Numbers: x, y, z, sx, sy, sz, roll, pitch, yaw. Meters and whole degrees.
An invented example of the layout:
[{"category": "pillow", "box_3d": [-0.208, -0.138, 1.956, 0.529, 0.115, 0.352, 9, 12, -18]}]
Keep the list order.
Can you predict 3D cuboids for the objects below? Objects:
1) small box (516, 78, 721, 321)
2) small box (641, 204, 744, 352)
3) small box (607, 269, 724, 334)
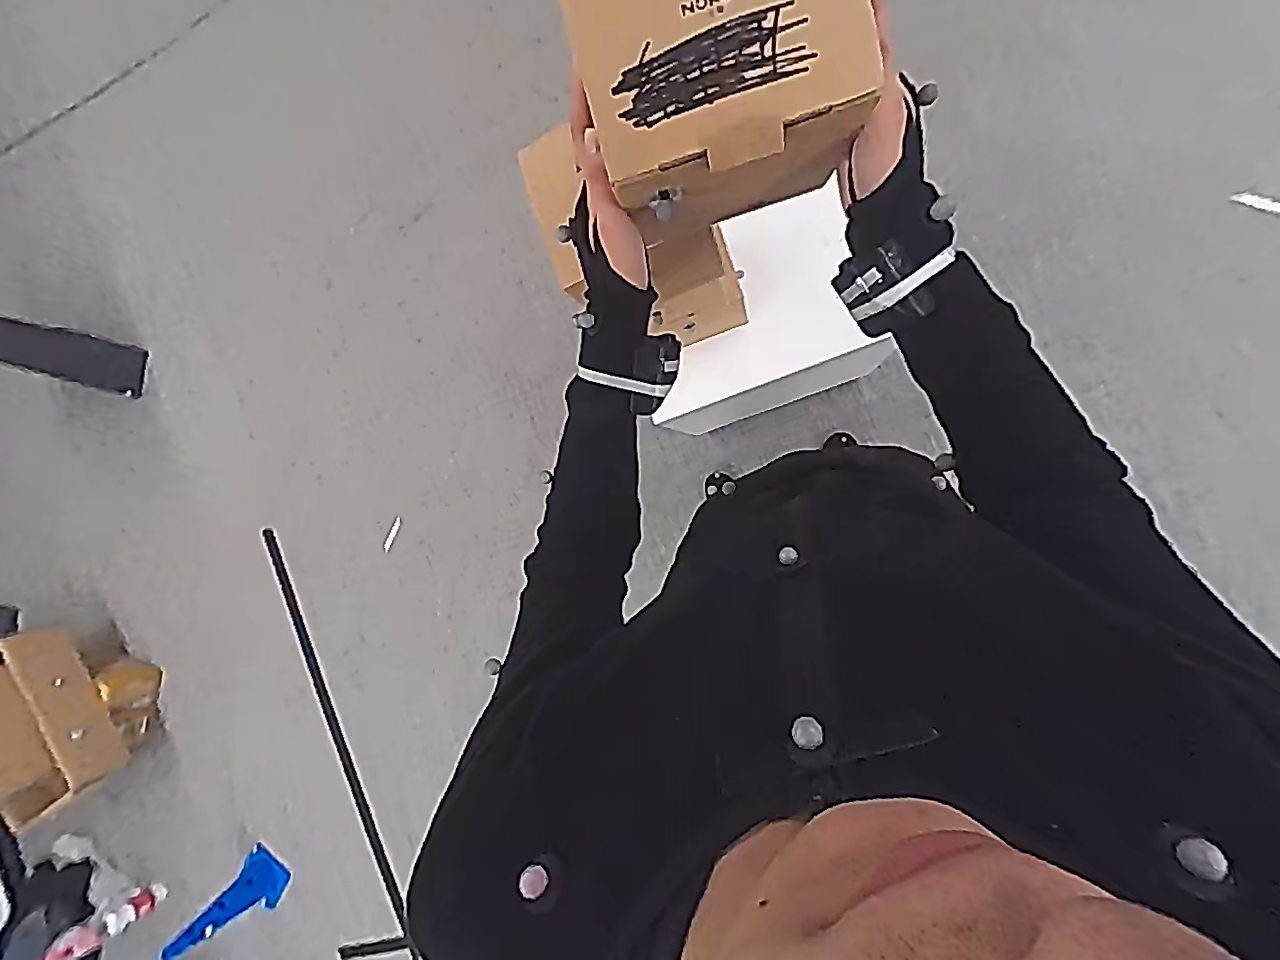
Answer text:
[{"category": "small box", "box_3d": [-0.015, -0.313, 0.650, 0.179, 0.176, 0.168, -20, 88, 14]}, {"category": "small box", "box_3d": [0.077, -0.344, 0.963, 0.179, 0.176, 0.168, -18, 88, 13]}, {"category": "small box", "box_3d": [0.022, -0.332, 0.810, 0.168, 0.176, 0.179, -17, 87, 14]}]
